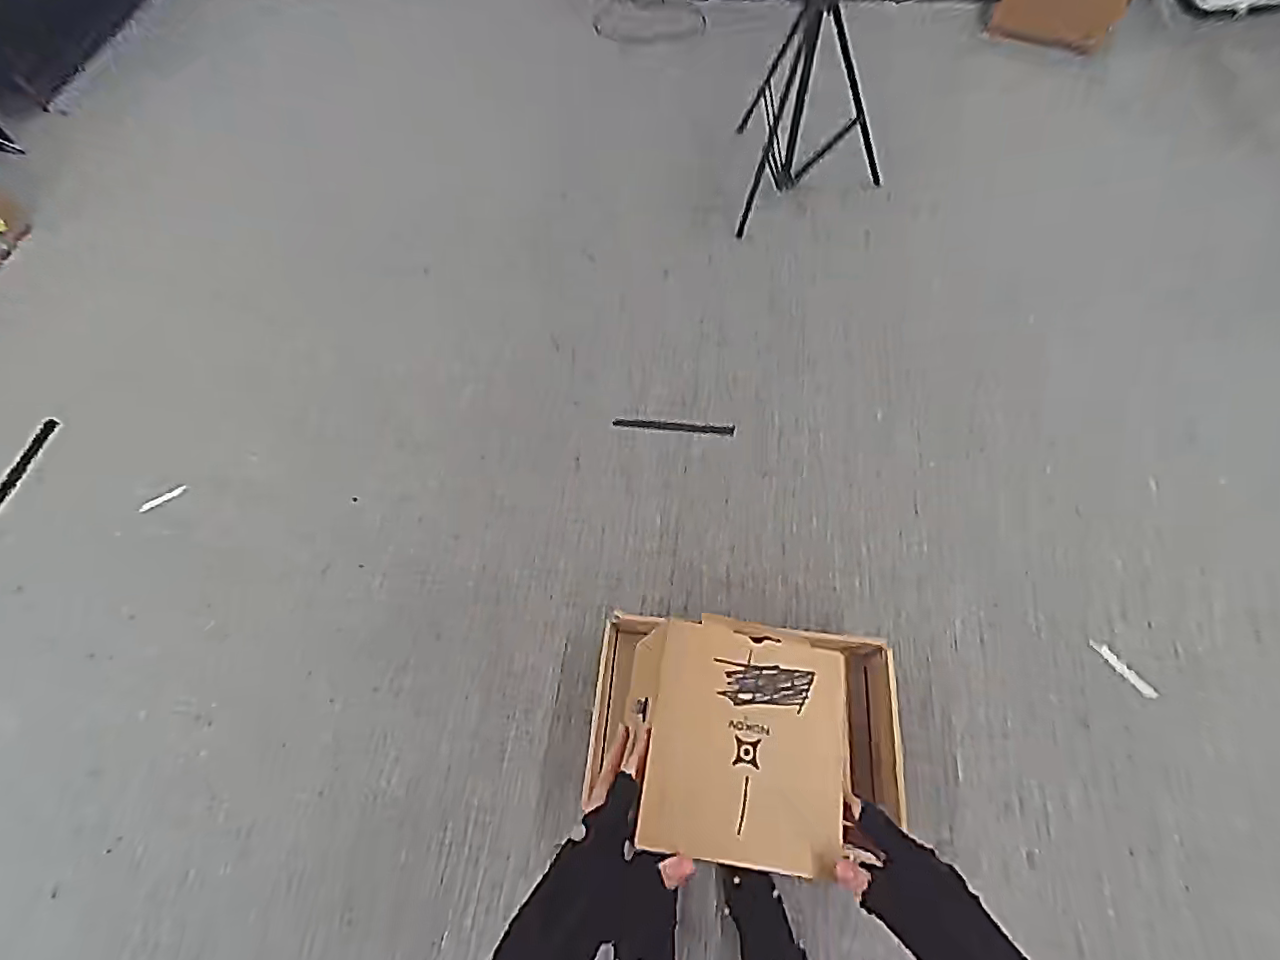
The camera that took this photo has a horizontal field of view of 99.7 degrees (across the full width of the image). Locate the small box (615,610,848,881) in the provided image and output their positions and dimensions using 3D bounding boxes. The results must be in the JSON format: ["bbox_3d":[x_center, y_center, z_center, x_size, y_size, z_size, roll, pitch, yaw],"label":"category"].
[{"bbox_3d":[0.076,0.239,0.506,0.168,0.176,0.179,13,64,-4],"label":"small box"}]
